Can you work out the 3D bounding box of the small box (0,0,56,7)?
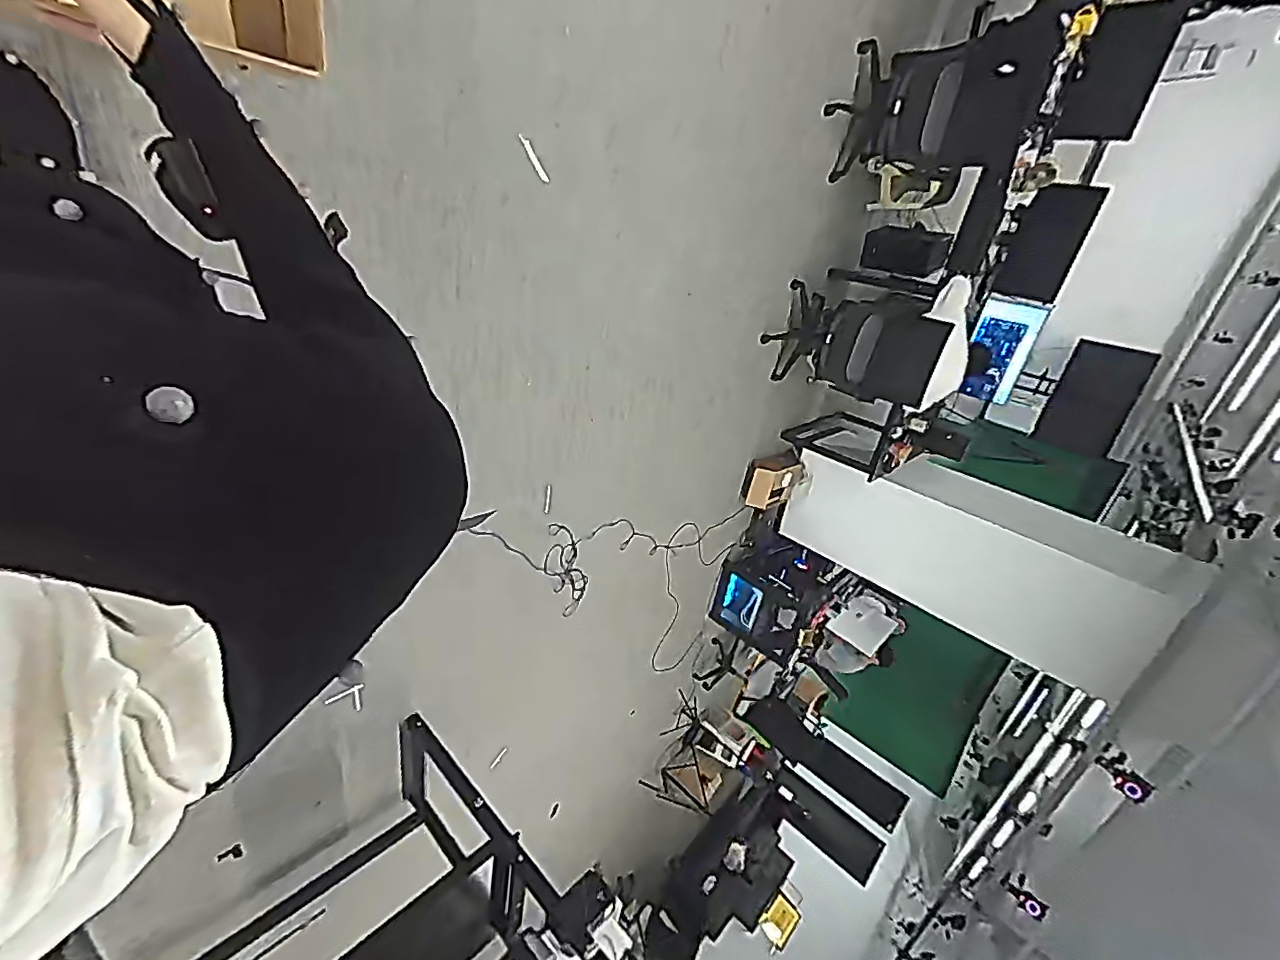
[{"bbox_3d":[-0.542,-0.466,0.364,0.168,0.176,0.179,-15,126,-54],"label":"small box"}]
